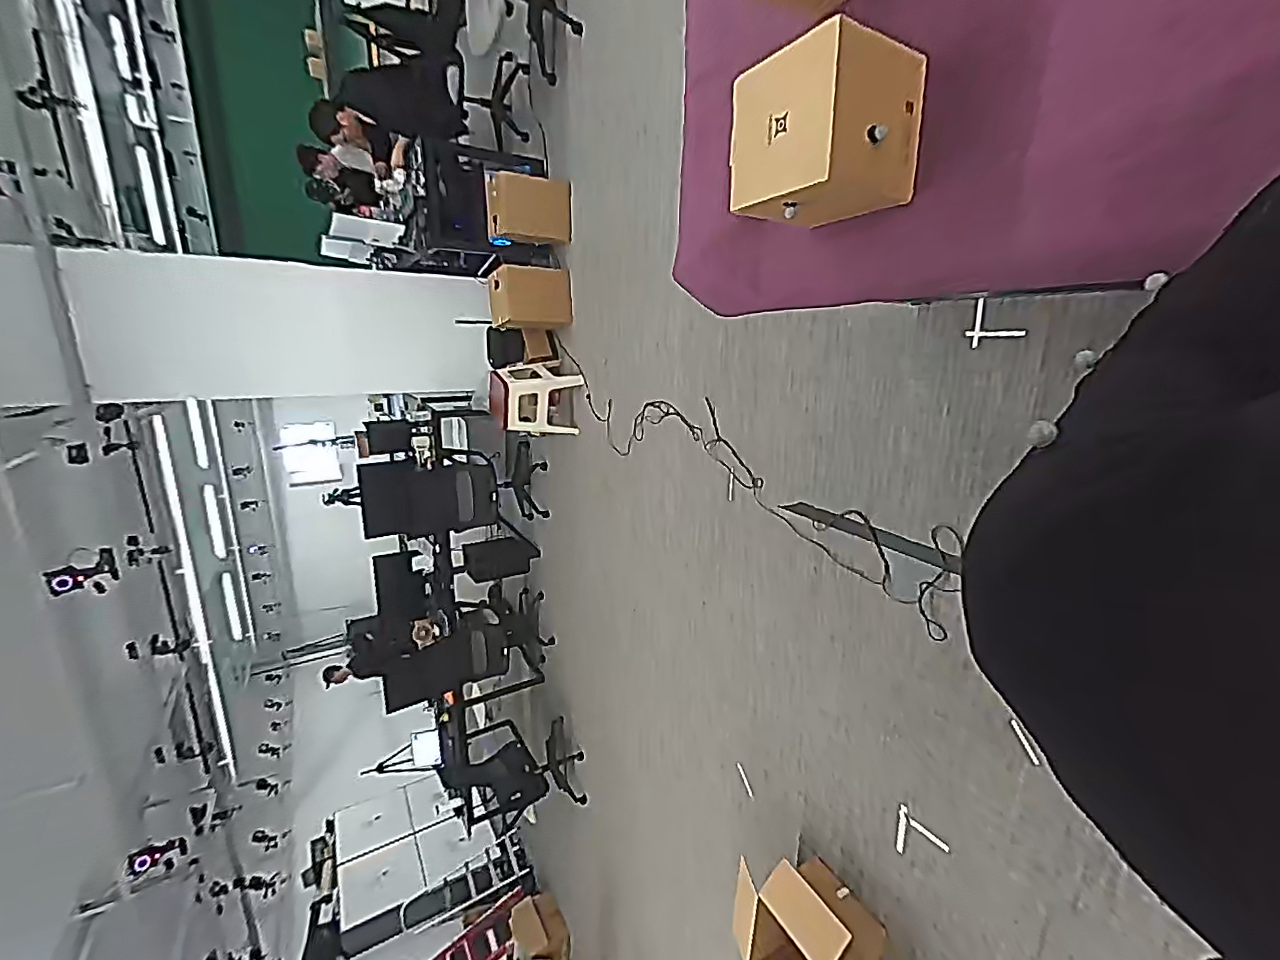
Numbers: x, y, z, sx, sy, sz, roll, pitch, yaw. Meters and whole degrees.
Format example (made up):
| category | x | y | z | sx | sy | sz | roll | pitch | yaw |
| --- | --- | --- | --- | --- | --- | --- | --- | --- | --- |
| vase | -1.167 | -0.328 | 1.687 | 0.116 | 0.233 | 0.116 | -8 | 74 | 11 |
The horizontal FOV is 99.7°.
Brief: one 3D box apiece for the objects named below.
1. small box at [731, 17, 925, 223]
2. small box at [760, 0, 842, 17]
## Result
| category | x | y | z | sx | sy | sz | roll | pitch | yaw |
| --- | --- | --- | --- | --- | --- | --- | --- | --- | --- |
| small box | 0.239 | -0.444 | 0.703 | 0.179 | 0.176 | 0.168 | 21 | 115 | 57 |
| small box | 0.216 | -0.713 | 0.648 | 0.179 | 0.168 | 0.176 | -144 | 54 | -61 |
